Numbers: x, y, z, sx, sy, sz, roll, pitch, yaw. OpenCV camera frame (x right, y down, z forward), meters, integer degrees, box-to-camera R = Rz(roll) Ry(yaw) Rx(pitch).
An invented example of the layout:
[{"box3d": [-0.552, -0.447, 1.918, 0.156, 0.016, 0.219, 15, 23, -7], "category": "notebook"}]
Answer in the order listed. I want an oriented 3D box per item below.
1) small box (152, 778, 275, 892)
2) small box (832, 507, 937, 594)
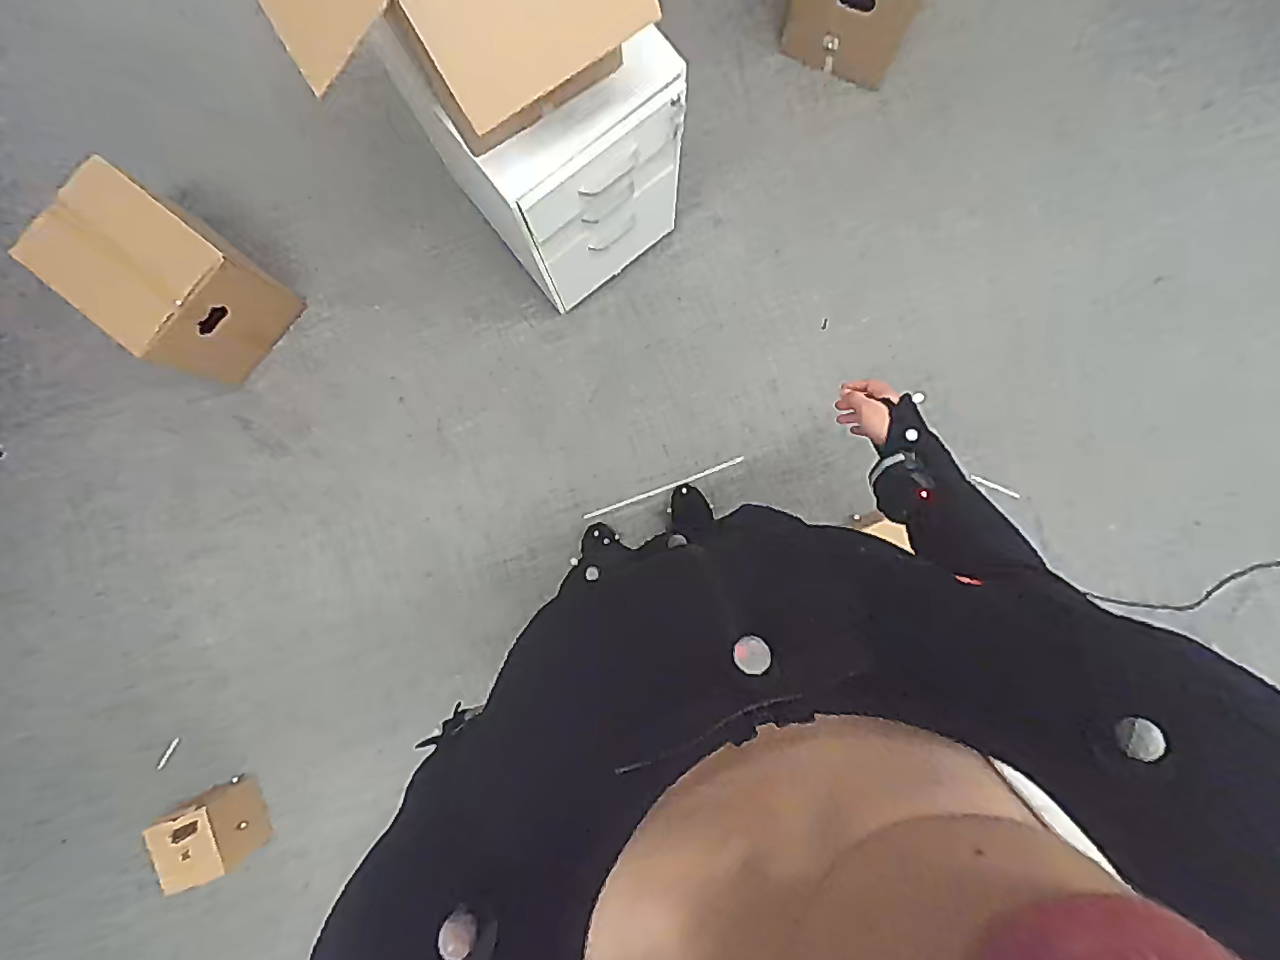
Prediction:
[{"box3d": [-1.109, 0.916, 1.418, 0.168, 0.176, 0.179, -19, 87, 0], "category": "small box"}, {"box3d": [0.616, 0.178, 1.398, 0.179, 0.176, 0.168, -23, 87, 1], "category": "small box"}]
